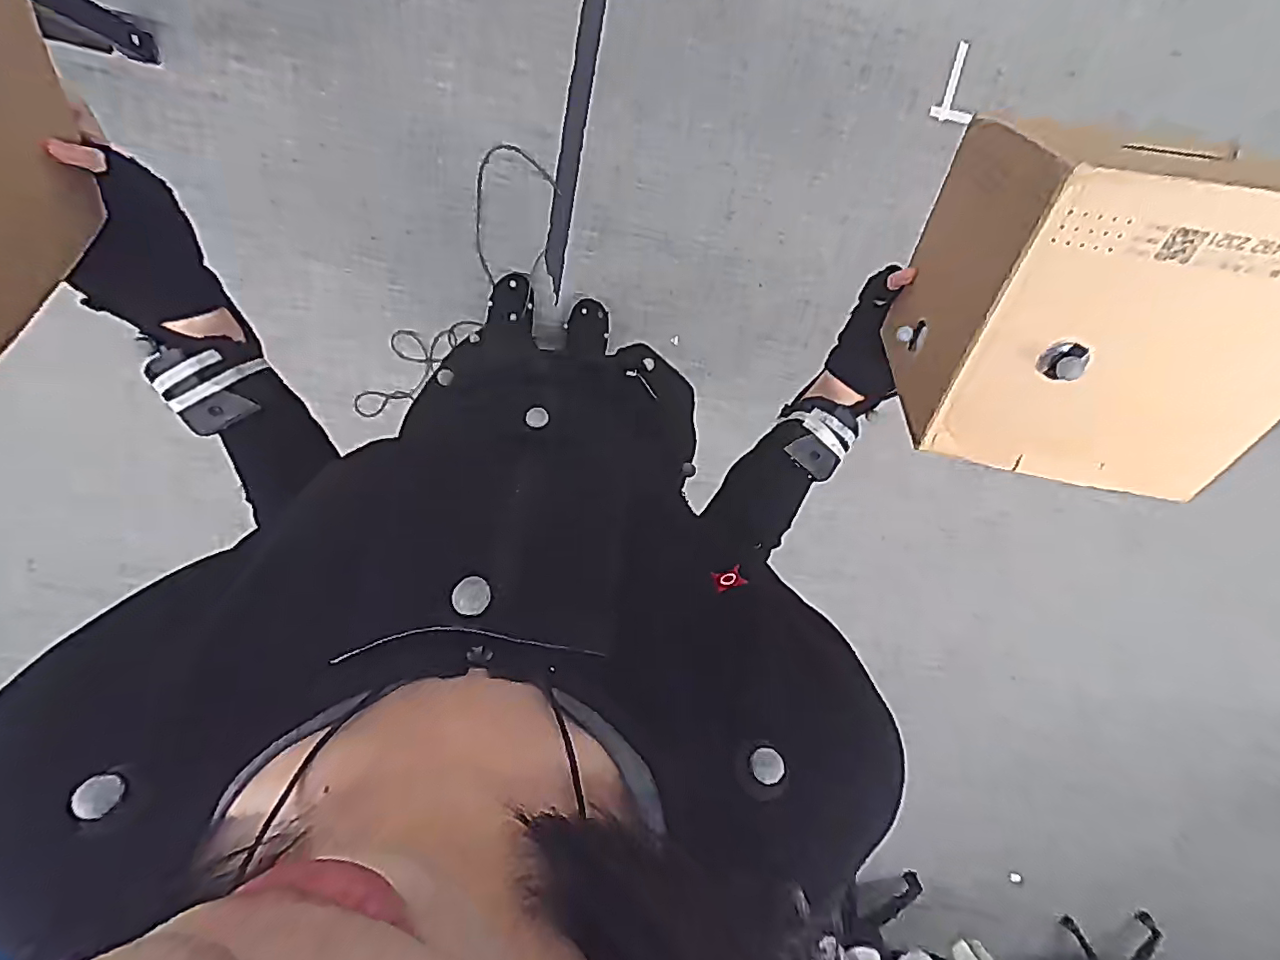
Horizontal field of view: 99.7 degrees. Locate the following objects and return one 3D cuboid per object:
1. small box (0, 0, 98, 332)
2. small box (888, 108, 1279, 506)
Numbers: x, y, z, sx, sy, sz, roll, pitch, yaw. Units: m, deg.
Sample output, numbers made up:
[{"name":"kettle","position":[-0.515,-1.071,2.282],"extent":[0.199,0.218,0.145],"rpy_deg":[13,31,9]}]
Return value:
[{"name":"small box","position":[-0.372,-0.163,0.203],"extent":[0.168,0.179,0.176],"rpy_deg":[3,138,-23]},{"name":"small box","position":[0.280,-0.115,0.334],"extent":[0.168,0.179,0.176],"rpy_deg":[13,132,5]}]
